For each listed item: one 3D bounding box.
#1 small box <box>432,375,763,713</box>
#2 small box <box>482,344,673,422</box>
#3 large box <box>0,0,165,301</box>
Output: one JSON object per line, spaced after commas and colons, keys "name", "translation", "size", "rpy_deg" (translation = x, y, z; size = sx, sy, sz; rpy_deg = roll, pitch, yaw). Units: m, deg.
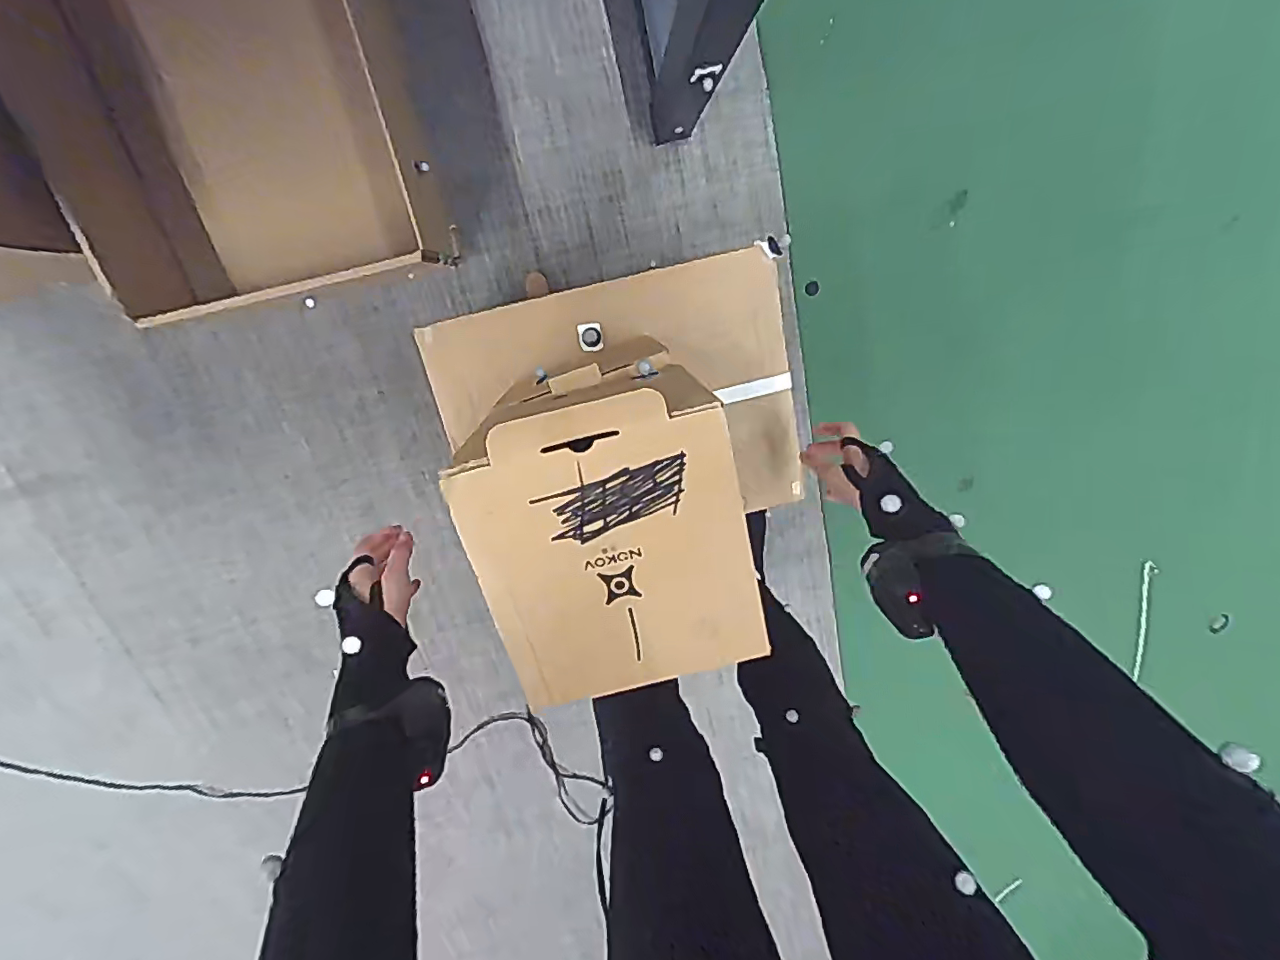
{"name": "small box", "translation": [-0.024, 0.028, 0.396], "size": [0.168, 0.176, 0.179], "rpy_deg": [-14, 110, 1]}
{"name": "small box", "translation": [-0.038, -0.032, 0.549], "size": [0.168, 0.176, 0.179], "rpy_deg": [-18, 109, 2]}
{"name": "large box", "translation": [-0.892, -0.430, 0.614], "size": [0.320, 0.320, 0.408], "rpy_deg": [-14, 110, 0]}
